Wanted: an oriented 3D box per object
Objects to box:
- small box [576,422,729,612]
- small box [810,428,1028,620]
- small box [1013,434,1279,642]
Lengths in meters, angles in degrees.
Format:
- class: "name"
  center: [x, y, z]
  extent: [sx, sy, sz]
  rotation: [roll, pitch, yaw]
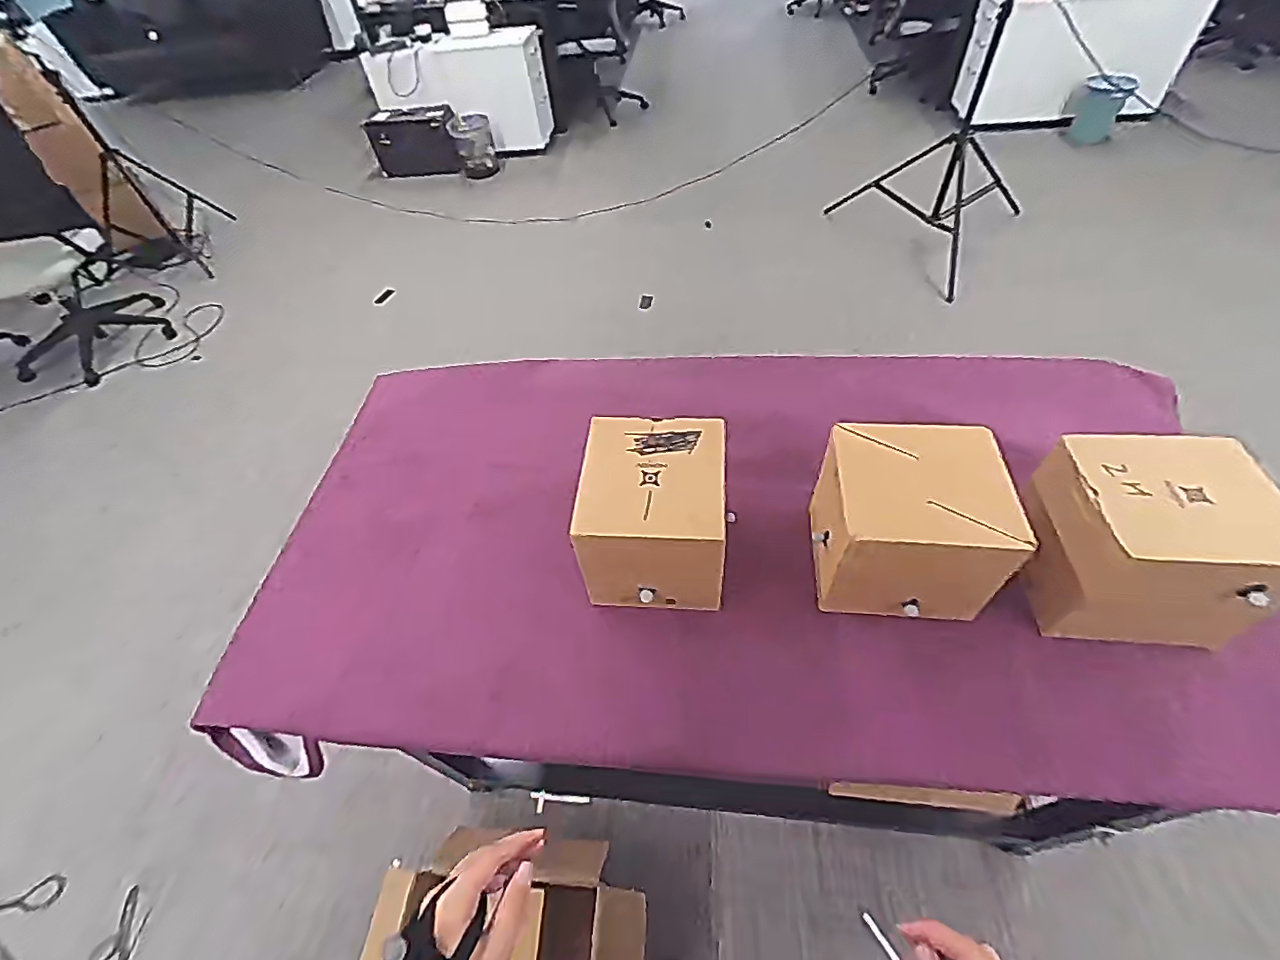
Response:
- class: "small box"
  center: [0.025, 0.047, 0.686]
  extent: [0.168, 0.176, 0.179]
  rotation: [1, 51, 7]
- class: "small box"
  center: [0.311, 0.051, 0.647]
  extent: [0.179, 0.176, 0.168]
  rotation: [2, 50, 9]
- class: "small box"
  center: [0.553, 0.068, 0.607]
  extent: [0.179, 0.176, 0.168]
  rotation: [2, 49, 8]
